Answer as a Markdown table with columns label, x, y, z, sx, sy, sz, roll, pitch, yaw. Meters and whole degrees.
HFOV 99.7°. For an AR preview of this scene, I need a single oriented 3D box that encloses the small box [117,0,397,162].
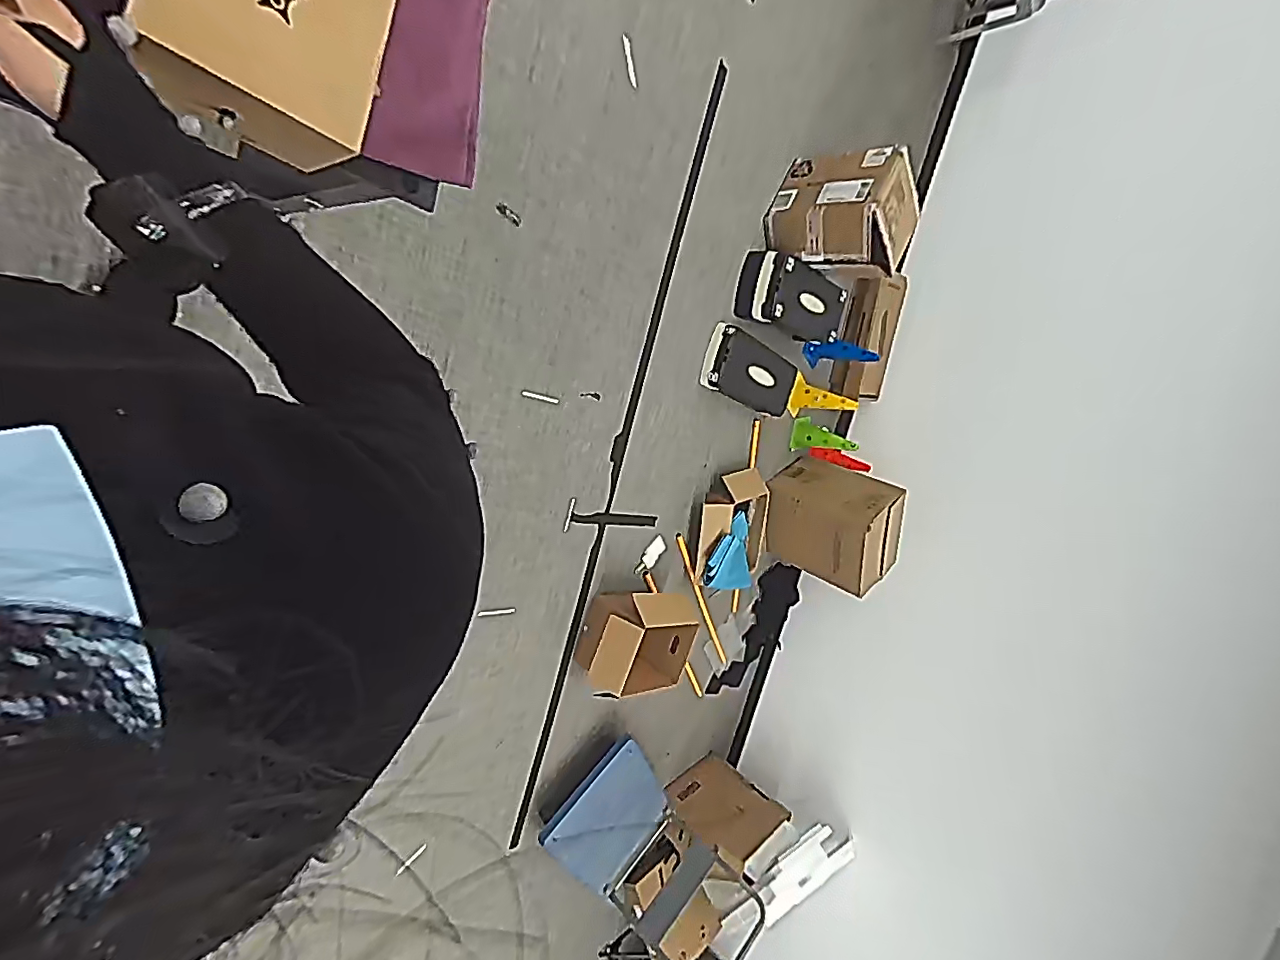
| label | x | y | z | sx | sy | sz | roll | pitch | yaw |
| --- | --- | --- | --- | --- | --- | --- | --- | --- | --- |
| small box | -0.348 | -0.423 | 0.493 | 0.168 | 0.176 | 0.179 | 11 | 97 | -49 |
